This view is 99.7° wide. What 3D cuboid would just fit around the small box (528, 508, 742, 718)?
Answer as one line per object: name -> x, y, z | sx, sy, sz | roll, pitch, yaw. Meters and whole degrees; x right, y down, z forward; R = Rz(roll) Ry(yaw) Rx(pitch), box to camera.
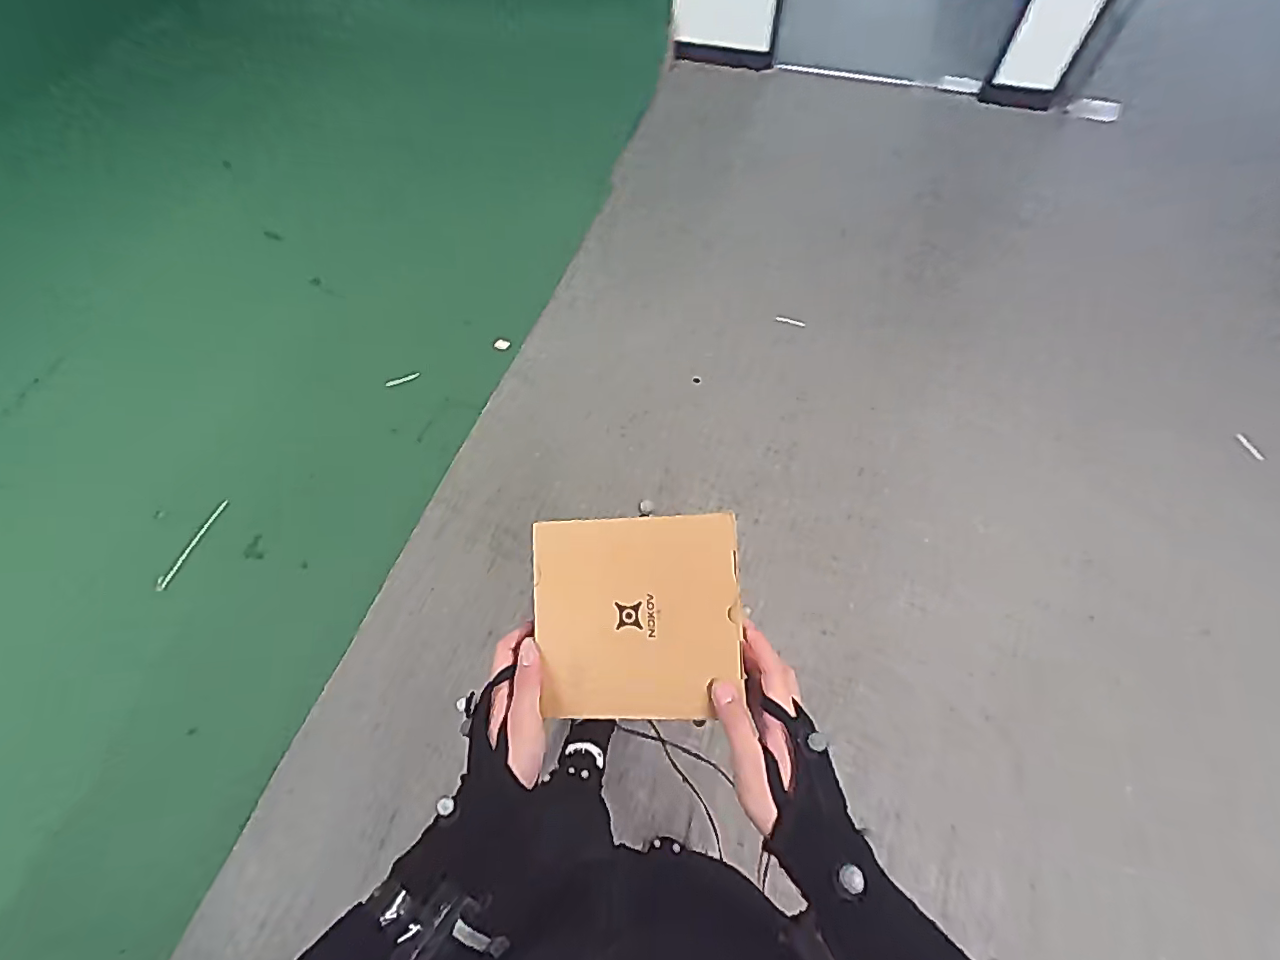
small box -> 0.005, 0.117, 0.519 | 0.179, 0.176, 0.168 | -3, 82, 8
